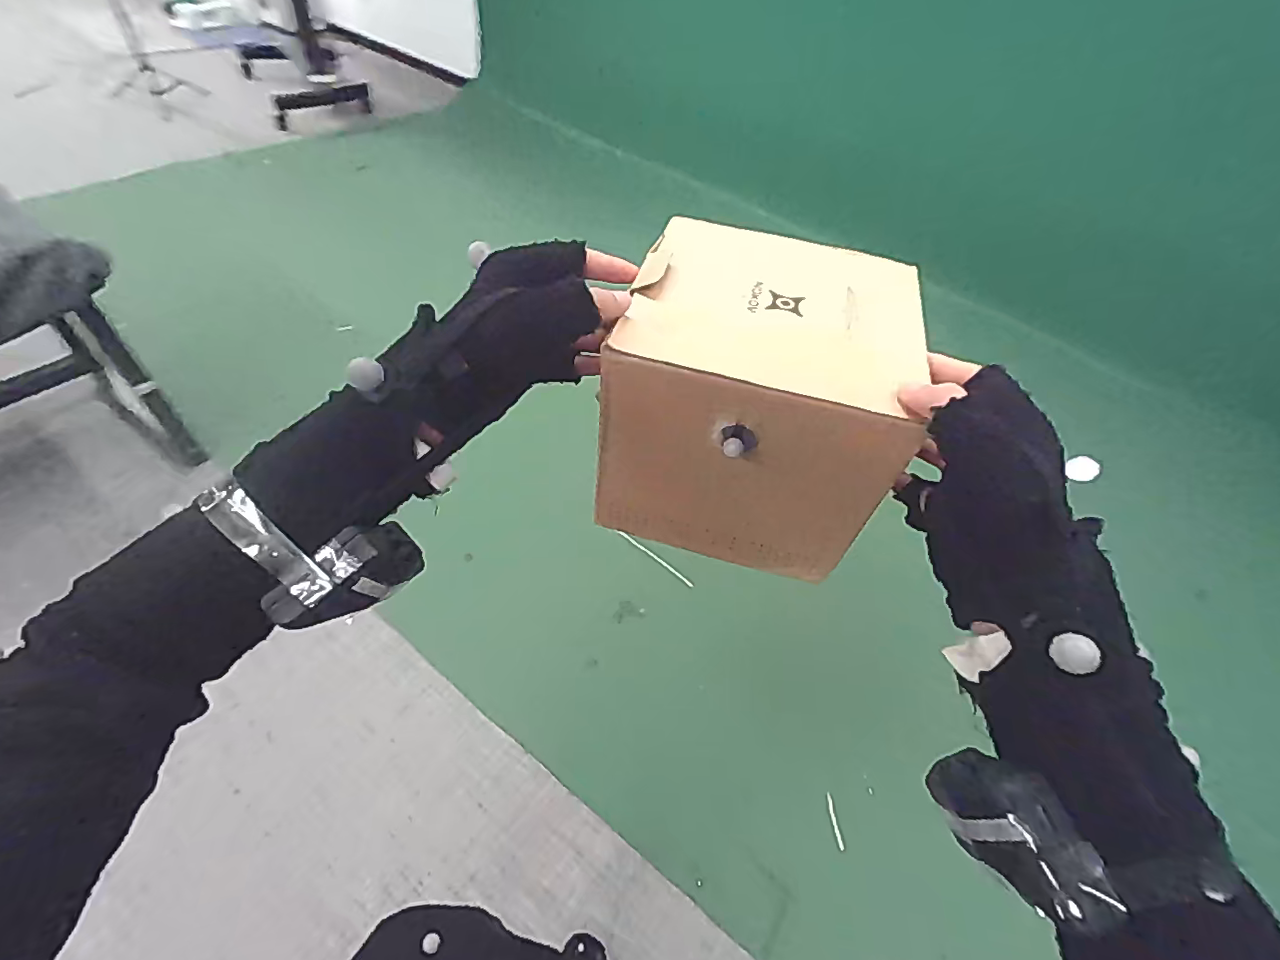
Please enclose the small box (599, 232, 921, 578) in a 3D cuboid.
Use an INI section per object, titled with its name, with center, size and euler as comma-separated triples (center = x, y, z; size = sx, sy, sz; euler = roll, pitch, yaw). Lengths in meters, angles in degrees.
[small box]
center = 0.074, -0.050, 0.397
size = 0.179, 0.176, 0.168
euler = 15, 51, 4
